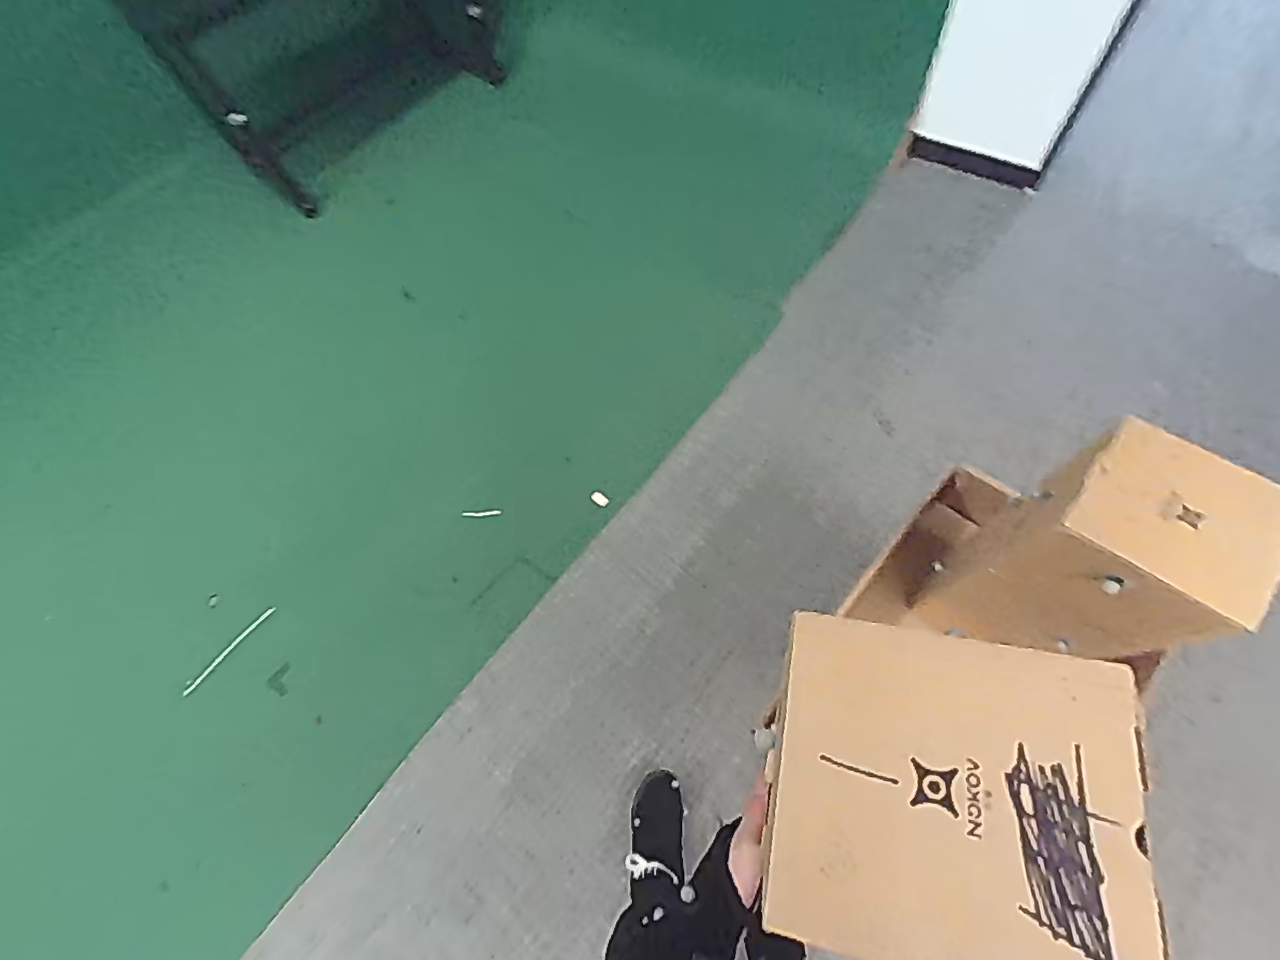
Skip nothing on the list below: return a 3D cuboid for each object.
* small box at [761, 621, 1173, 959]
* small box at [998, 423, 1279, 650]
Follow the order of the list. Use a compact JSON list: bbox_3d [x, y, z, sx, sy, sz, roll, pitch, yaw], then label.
[{"bbox_3d":[0.176,0.201,0.346,0.179,0.176,0.168,6,66,16],"label":"small box"},{"bbox_3d":[0.564,0.074,0.615,0.179,0.176,0.168,37,75,21],"label":"small box"}]
